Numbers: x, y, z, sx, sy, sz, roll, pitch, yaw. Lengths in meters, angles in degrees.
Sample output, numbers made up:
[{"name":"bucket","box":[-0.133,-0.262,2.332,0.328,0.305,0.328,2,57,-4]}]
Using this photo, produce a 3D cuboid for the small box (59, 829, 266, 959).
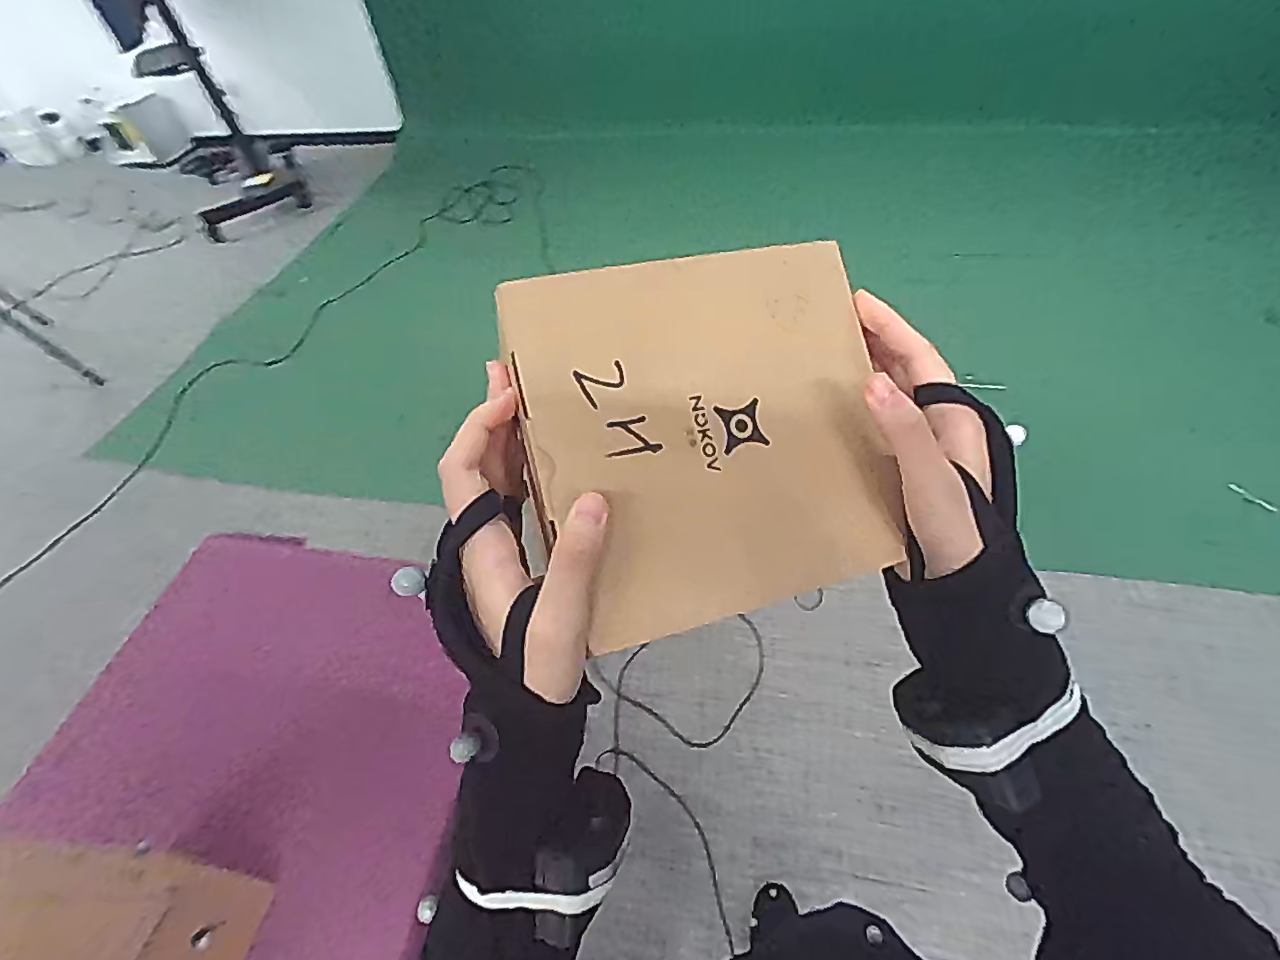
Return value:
[{"name":"small box","box":[-0.528,0.481,0.545,0.168,0.176,0.179,6,53,12]}]

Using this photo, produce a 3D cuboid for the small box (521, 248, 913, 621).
[{"name":"small box","box":[0.026,-0.021,0.344,0.179,0.176,0.168,-12,85,-14]}]
